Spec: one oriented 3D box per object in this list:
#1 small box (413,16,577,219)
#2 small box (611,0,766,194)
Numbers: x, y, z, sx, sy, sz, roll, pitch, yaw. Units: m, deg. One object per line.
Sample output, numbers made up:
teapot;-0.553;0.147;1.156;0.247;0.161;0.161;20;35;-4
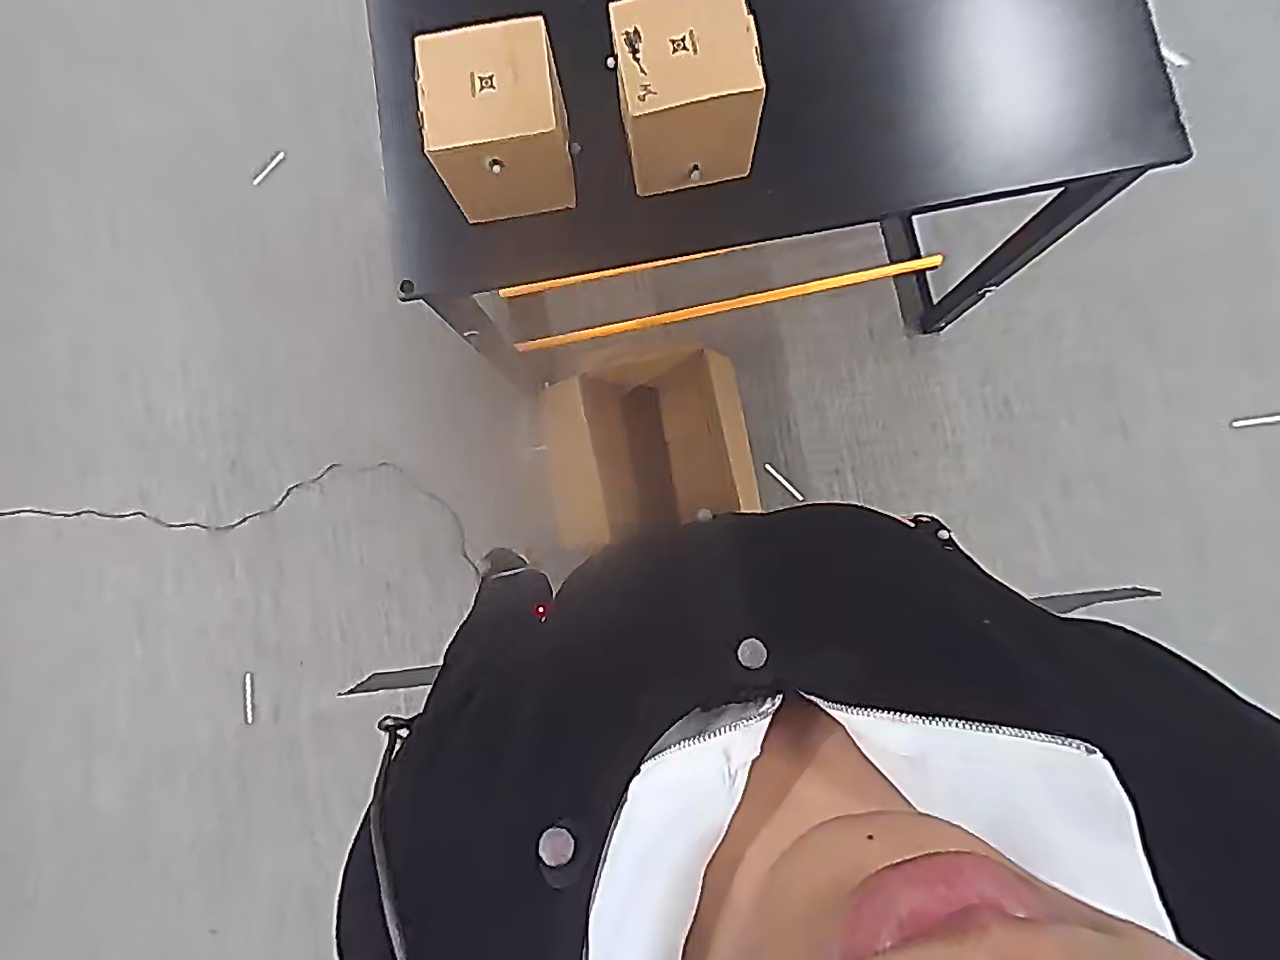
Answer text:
small box;-0.197;-0.501;0.774;0.179;0.176;0.168;-9;85;2
small box;0.063;-0.539;0.762;0.179;0.176;0.168;-10;83;2
